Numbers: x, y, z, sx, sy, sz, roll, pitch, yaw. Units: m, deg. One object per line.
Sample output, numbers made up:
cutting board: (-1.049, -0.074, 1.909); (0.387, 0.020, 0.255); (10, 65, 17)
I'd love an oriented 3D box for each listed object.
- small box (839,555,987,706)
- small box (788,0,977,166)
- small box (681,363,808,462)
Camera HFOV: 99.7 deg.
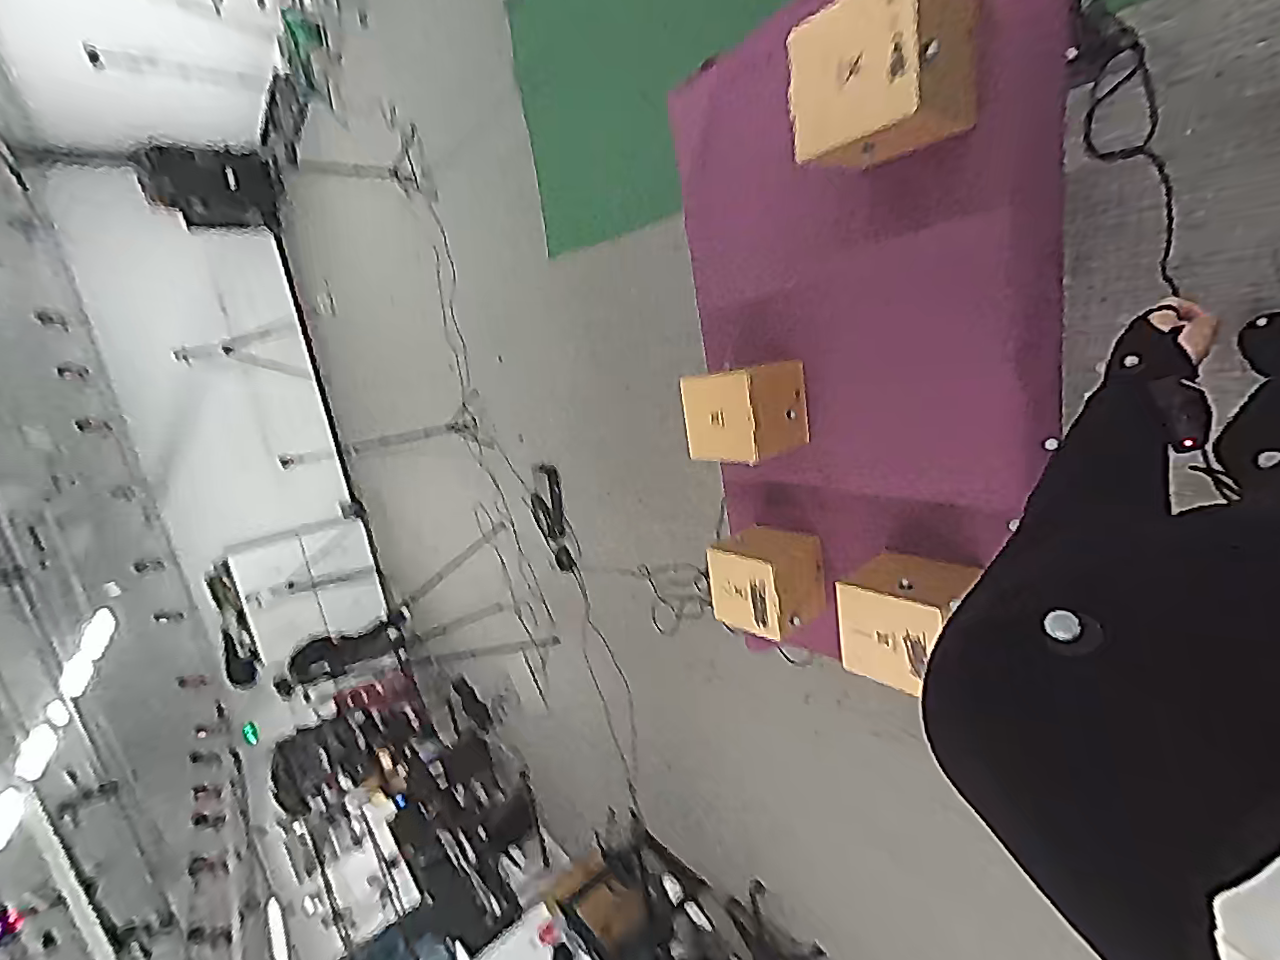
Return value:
small box: (0.464, 0.239, 0.913); (0.179, 0.176, 0.168); (6, 109, 51)
small box: (0.330, -0.548, 0.740); (0.179, 0.176, 0.168); (9, 114, 52)
small box: (0.210, -0.136, 1.079); (0.179, 0.176, 0.168); (5, 108, 50)
